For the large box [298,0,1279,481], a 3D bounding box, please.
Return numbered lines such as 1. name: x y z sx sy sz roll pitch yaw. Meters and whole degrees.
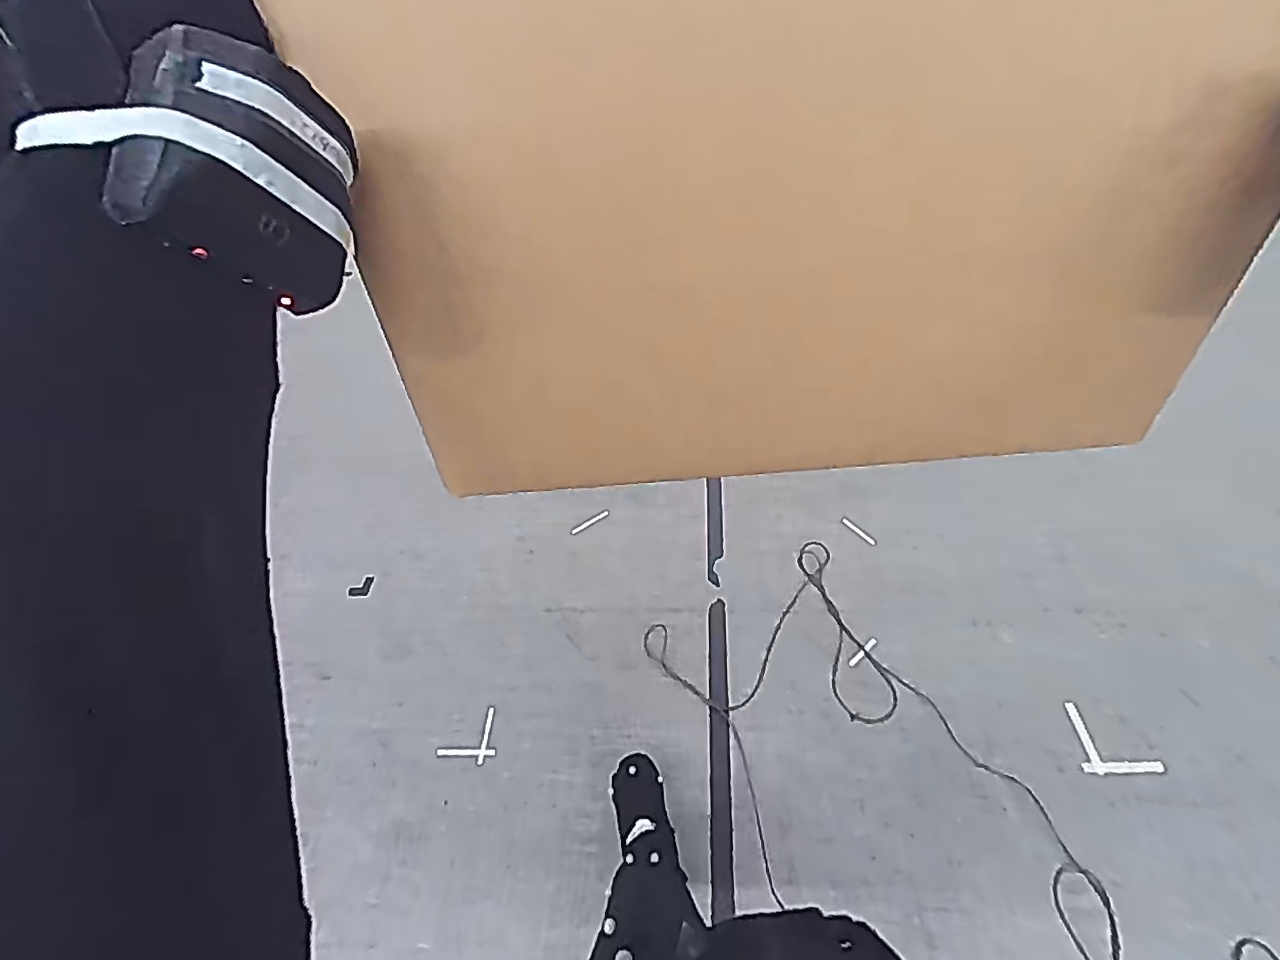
1. large box: 0.068 -0.222 0.352 0.408 0.320 0.320 -4 39 0
